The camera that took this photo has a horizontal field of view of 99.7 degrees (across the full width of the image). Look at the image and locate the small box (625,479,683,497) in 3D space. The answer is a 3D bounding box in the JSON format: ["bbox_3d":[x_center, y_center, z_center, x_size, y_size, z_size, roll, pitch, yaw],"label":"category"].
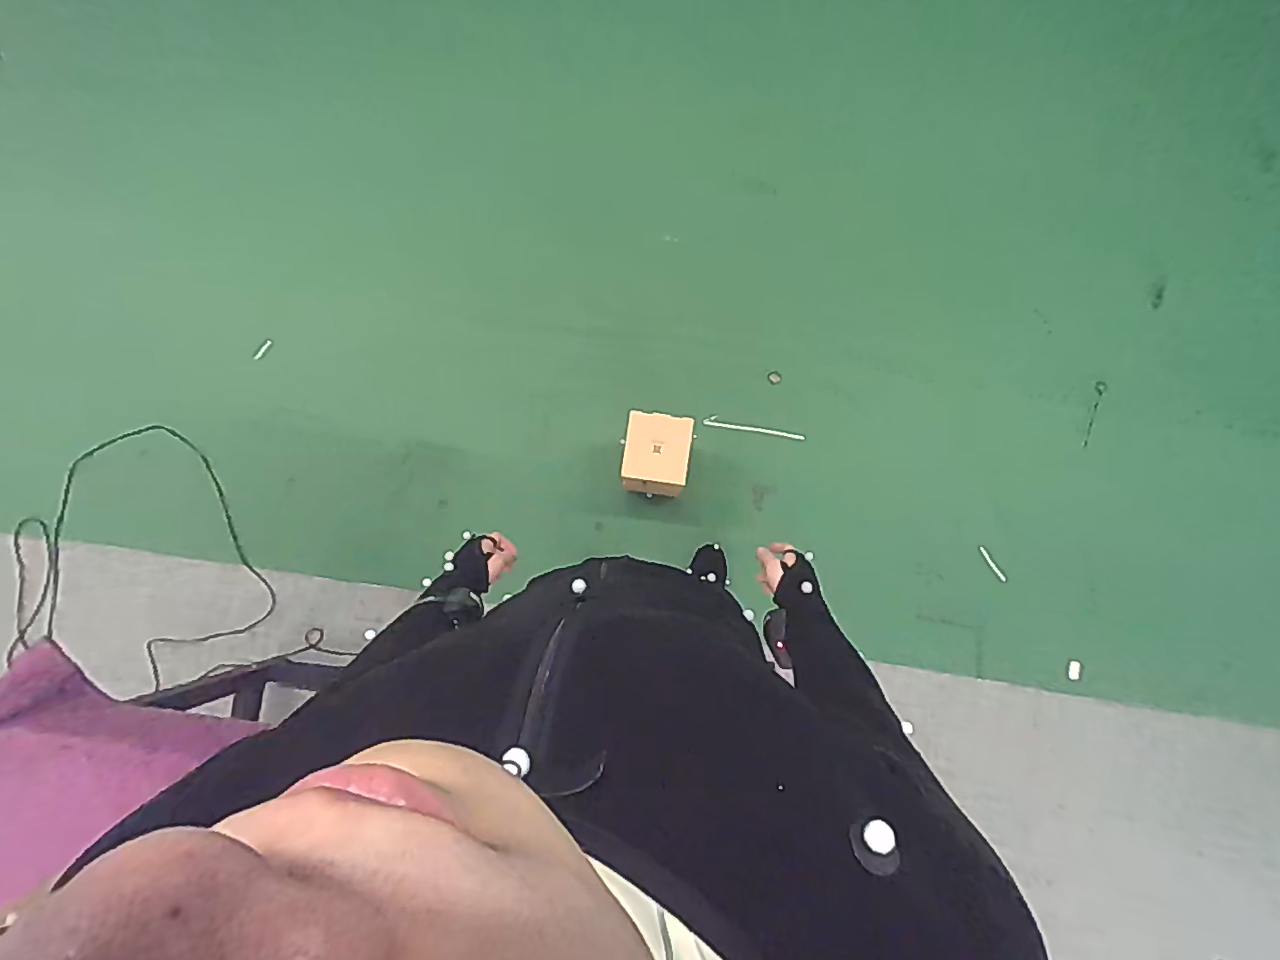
[{"bbox_3d":[0.053,-0.053,1.601,0.168,0.176,0.179,8,84,3],"label":"small box"}]

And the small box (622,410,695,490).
[{"bbox_3d":[0.051,-0.072,1.441,0.168,0.176,0.179,8,82,3],"label":"small box"}]
